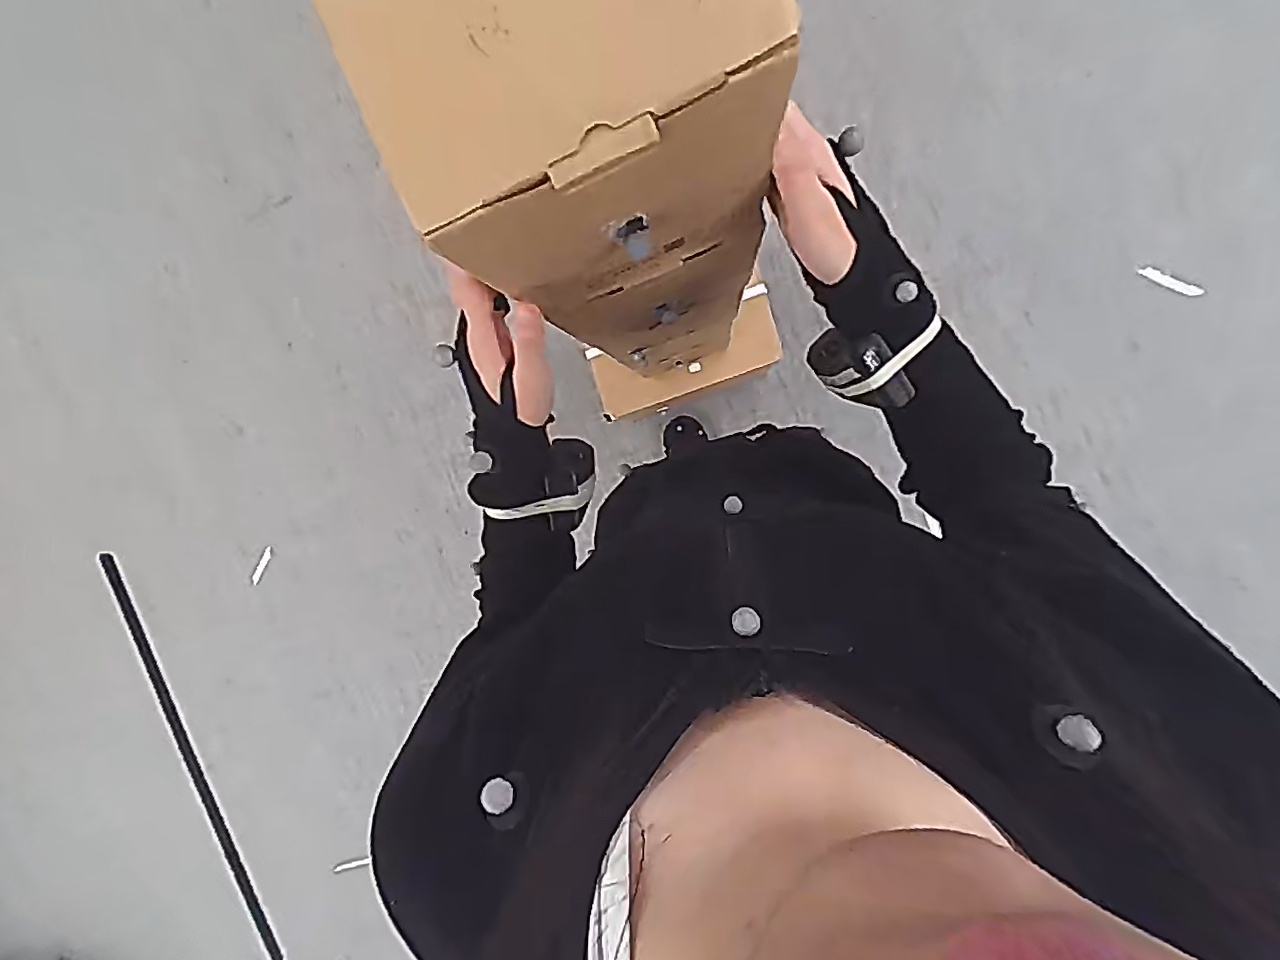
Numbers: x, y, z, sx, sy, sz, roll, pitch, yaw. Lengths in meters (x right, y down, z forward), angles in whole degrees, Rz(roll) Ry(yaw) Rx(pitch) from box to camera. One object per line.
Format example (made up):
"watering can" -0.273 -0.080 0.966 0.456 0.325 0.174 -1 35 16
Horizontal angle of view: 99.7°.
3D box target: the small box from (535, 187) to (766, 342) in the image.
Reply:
"small box" -0.011 -0.232 0.441 0.168 0.176 0.179 -20 93 10

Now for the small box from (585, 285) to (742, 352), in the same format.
"small box" 0.010 -0.252 0.605 0.168 0.176 0.179 -18 93 9

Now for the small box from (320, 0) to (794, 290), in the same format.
"small box" -0.037 -0.217 0.281 0.168 0.176 0.179 -22 94 9

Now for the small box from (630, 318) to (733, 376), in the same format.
"small box" 0.050 -0.290 0.928 0.168 0.176 0.179 -20 94 9
